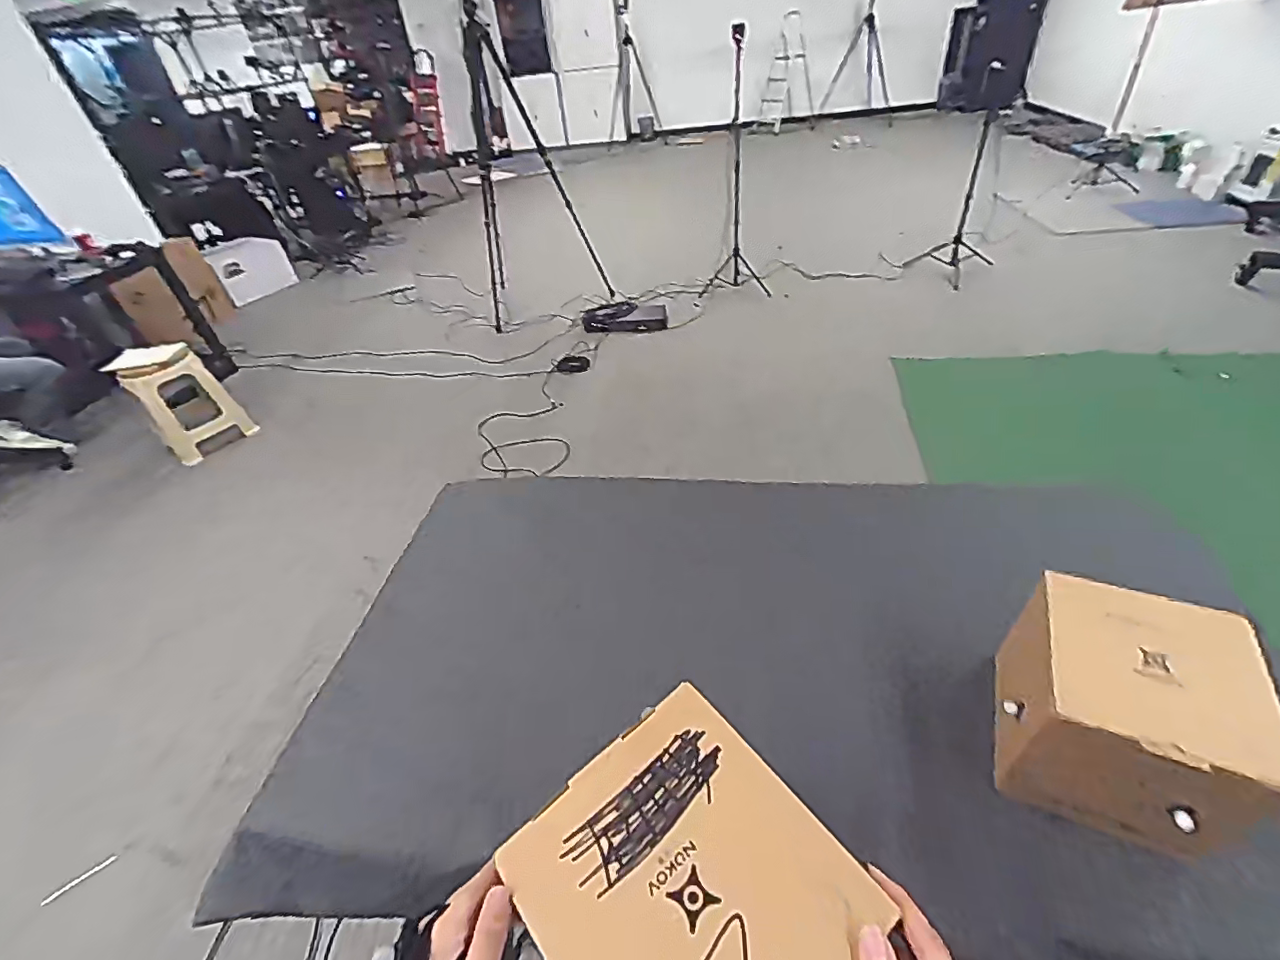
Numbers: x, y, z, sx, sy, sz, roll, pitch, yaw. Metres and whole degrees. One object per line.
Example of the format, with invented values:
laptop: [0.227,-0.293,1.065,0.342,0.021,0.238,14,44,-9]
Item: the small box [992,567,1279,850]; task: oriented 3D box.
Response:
small box: [0.471,0.223,0.539,0.168,0.176,0.179,14,43,23]
